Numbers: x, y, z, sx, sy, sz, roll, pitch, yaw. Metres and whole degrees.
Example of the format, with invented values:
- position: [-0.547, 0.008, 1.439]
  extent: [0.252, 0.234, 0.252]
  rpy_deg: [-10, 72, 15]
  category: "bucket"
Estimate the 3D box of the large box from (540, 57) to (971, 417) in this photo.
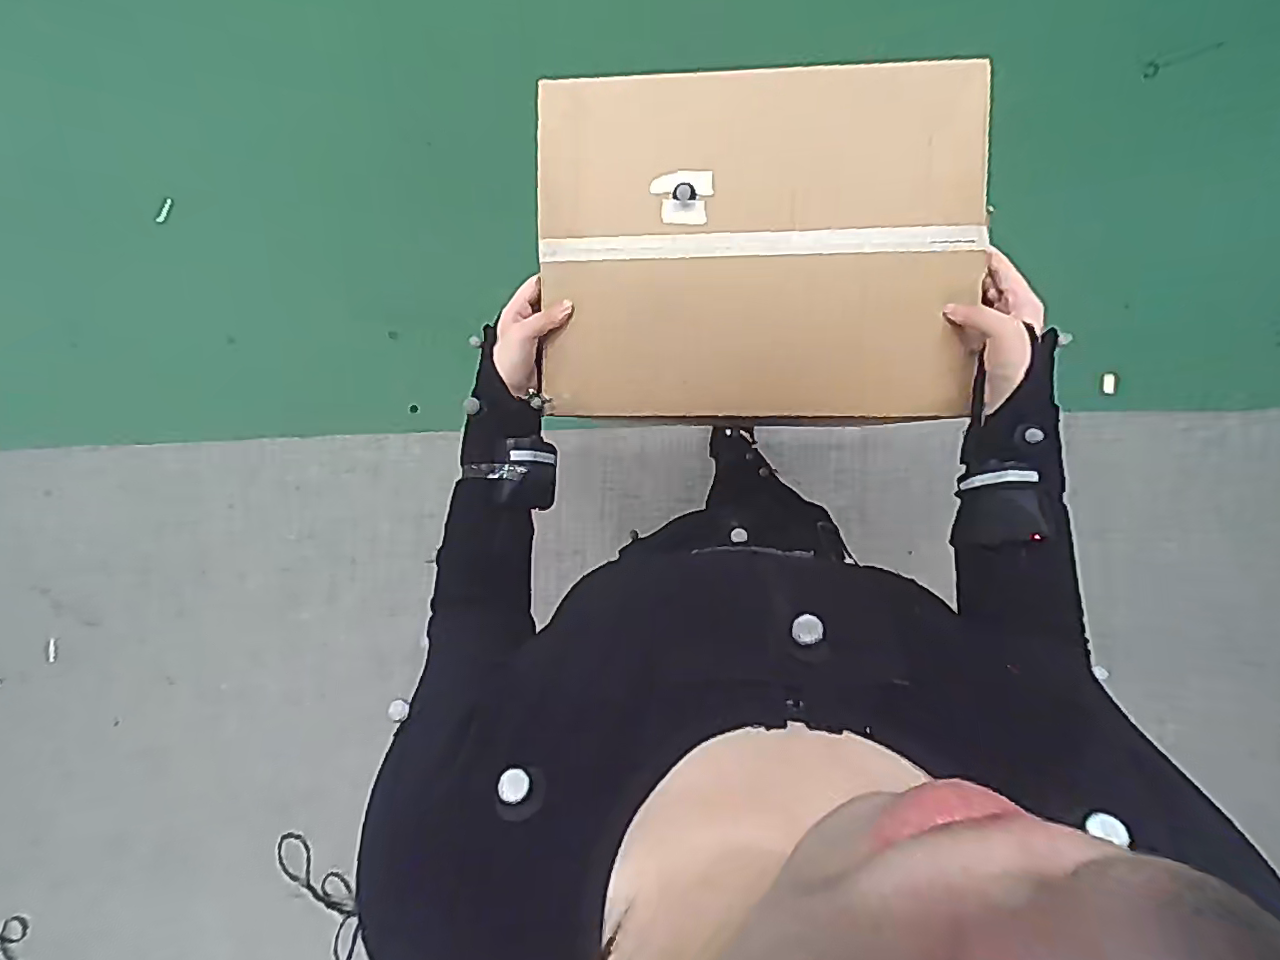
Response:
- position: [0.119, -0.237, 0.662]
  extent: [0.408, 0.320, 0.320]
  rpy_deg: [0, 94, 6]
  category: "large box"
